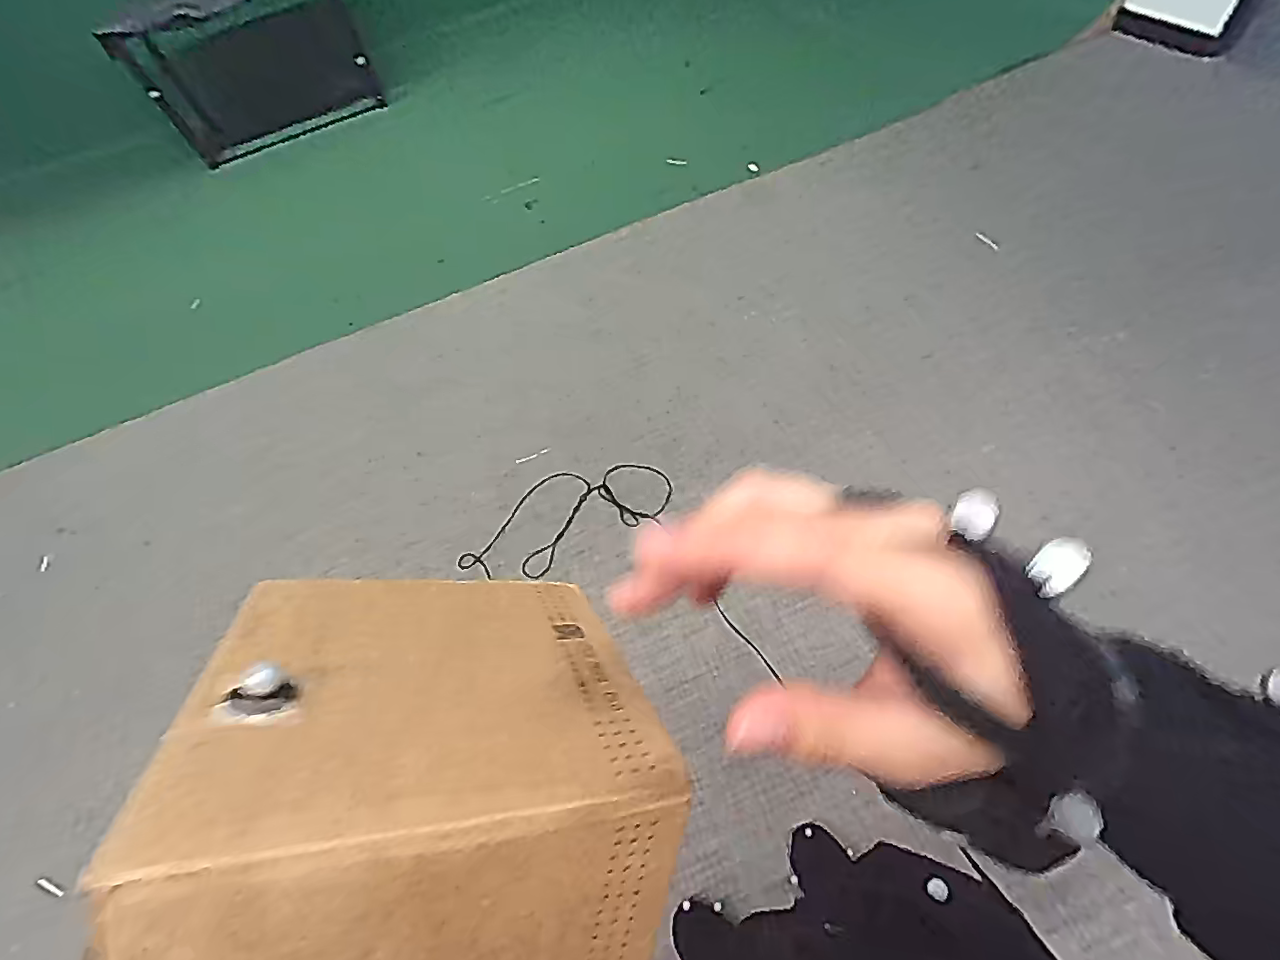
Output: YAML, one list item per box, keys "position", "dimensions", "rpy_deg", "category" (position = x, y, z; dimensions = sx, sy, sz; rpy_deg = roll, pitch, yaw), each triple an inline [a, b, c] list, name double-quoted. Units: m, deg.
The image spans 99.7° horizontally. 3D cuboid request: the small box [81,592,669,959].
- position: [-0.099, 0.168, 0.254]
  dimensions: [0.176, 0.179, 0.168]
  rpy_deg: [4, 15, -23]
  category: "small box"
